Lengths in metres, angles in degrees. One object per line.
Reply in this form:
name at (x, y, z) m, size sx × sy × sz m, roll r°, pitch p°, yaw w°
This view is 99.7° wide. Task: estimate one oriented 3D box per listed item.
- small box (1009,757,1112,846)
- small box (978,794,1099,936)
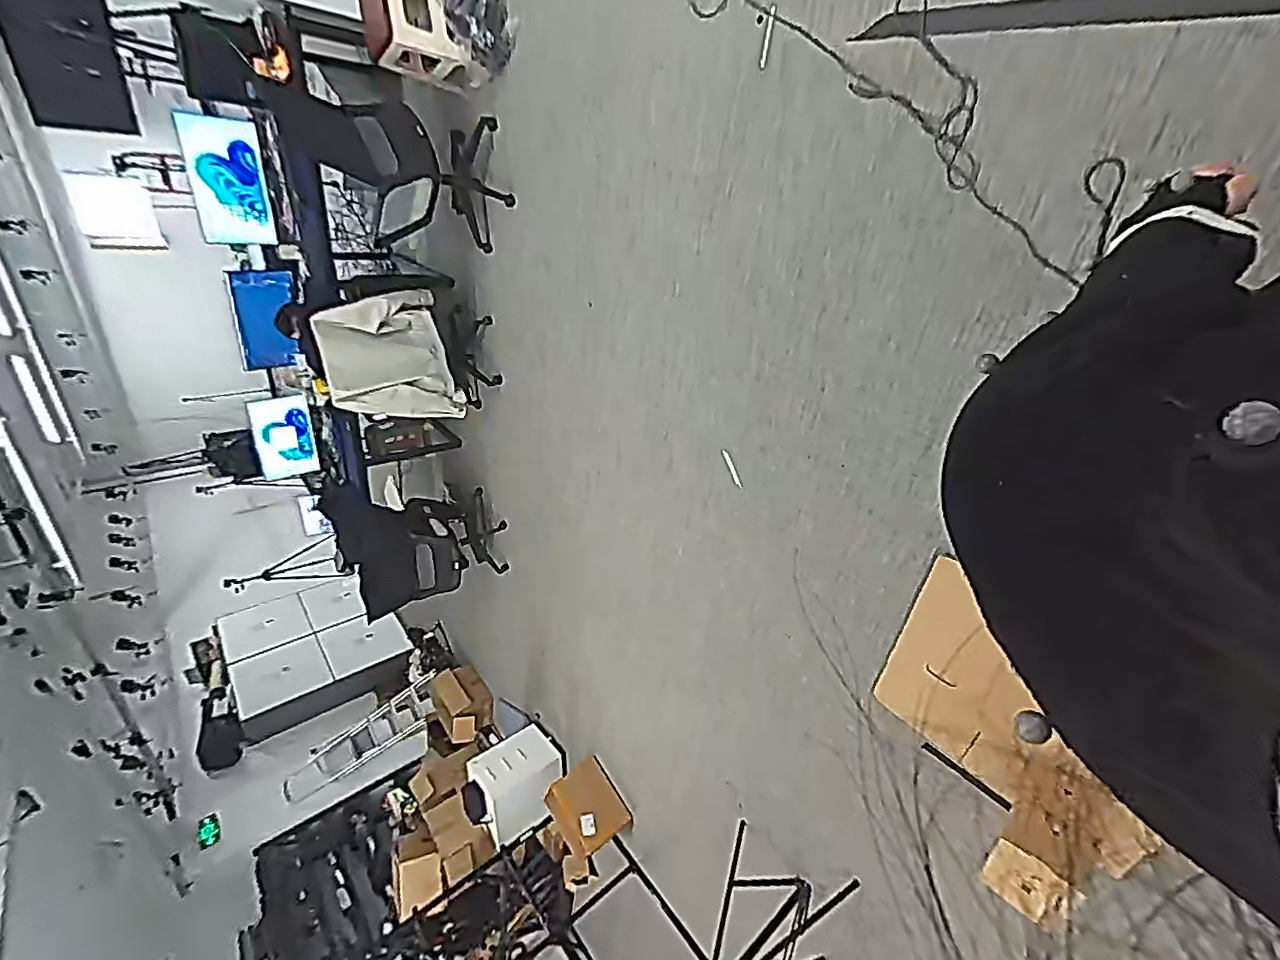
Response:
small box at (1.059, 0.851, 1.373) m, size 0.168 × 0.176 × 0.179 m, roll 27°, pitch 124°, yaw 43°
small box at (0.937, 0.896, 1.271) m, size 0.168 × 0.176 × 0.179 m, roll 28°, pitch 125°, yaw 41°
